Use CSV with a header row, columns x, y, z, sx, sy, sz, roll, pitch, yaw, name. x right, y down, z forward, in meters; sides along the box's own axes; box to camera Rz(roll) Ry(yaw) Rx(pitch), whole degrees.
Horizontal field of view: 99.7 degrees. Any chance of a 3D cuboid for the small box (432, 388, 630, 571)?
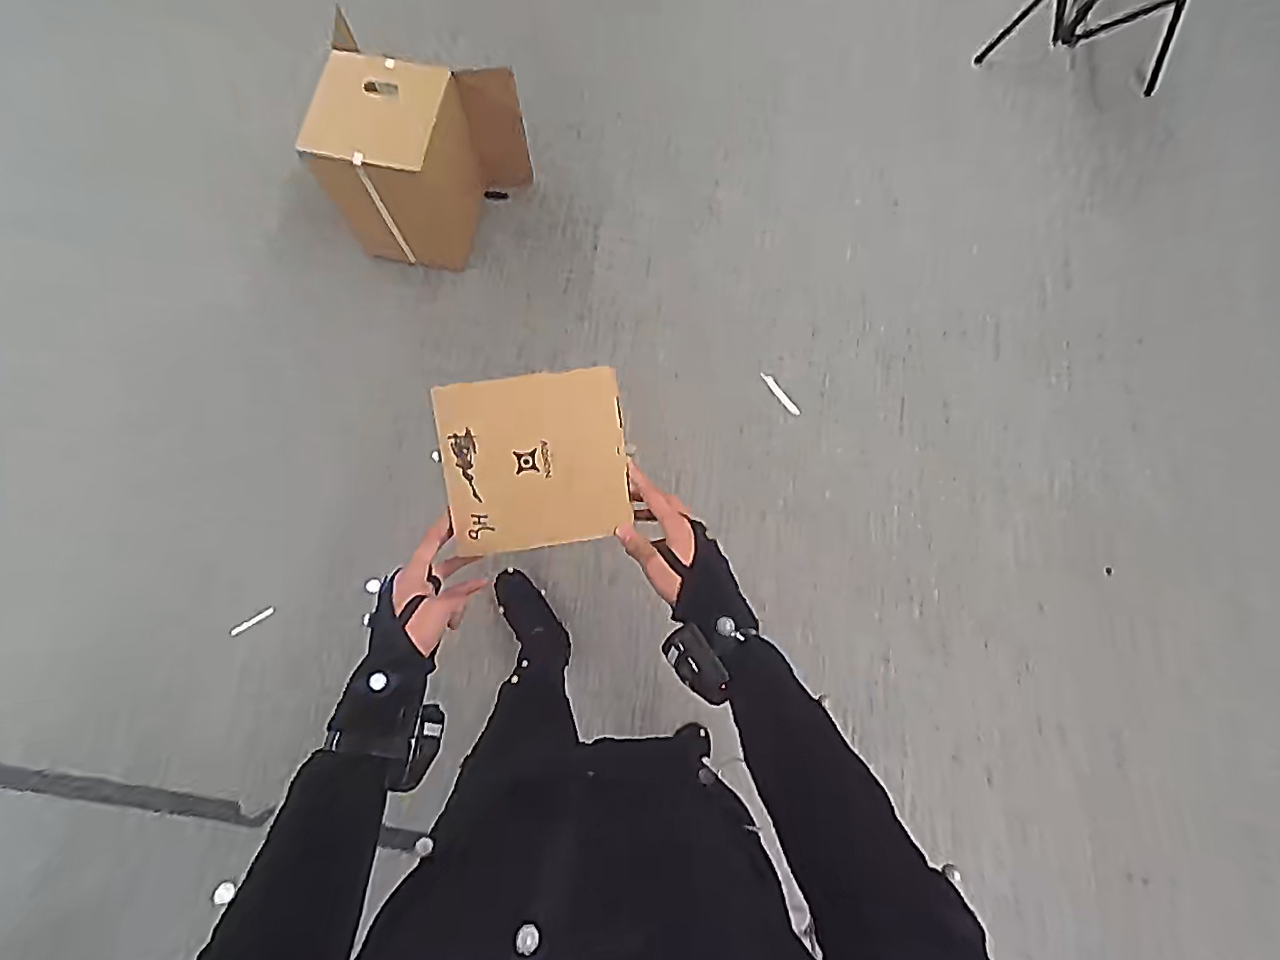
x,y,z,sx,sy,sz,roll,pitch,yaw,name
-0.113,-0.007,0.608,0.179,0.176,0.168,-8,94,-5,small box
